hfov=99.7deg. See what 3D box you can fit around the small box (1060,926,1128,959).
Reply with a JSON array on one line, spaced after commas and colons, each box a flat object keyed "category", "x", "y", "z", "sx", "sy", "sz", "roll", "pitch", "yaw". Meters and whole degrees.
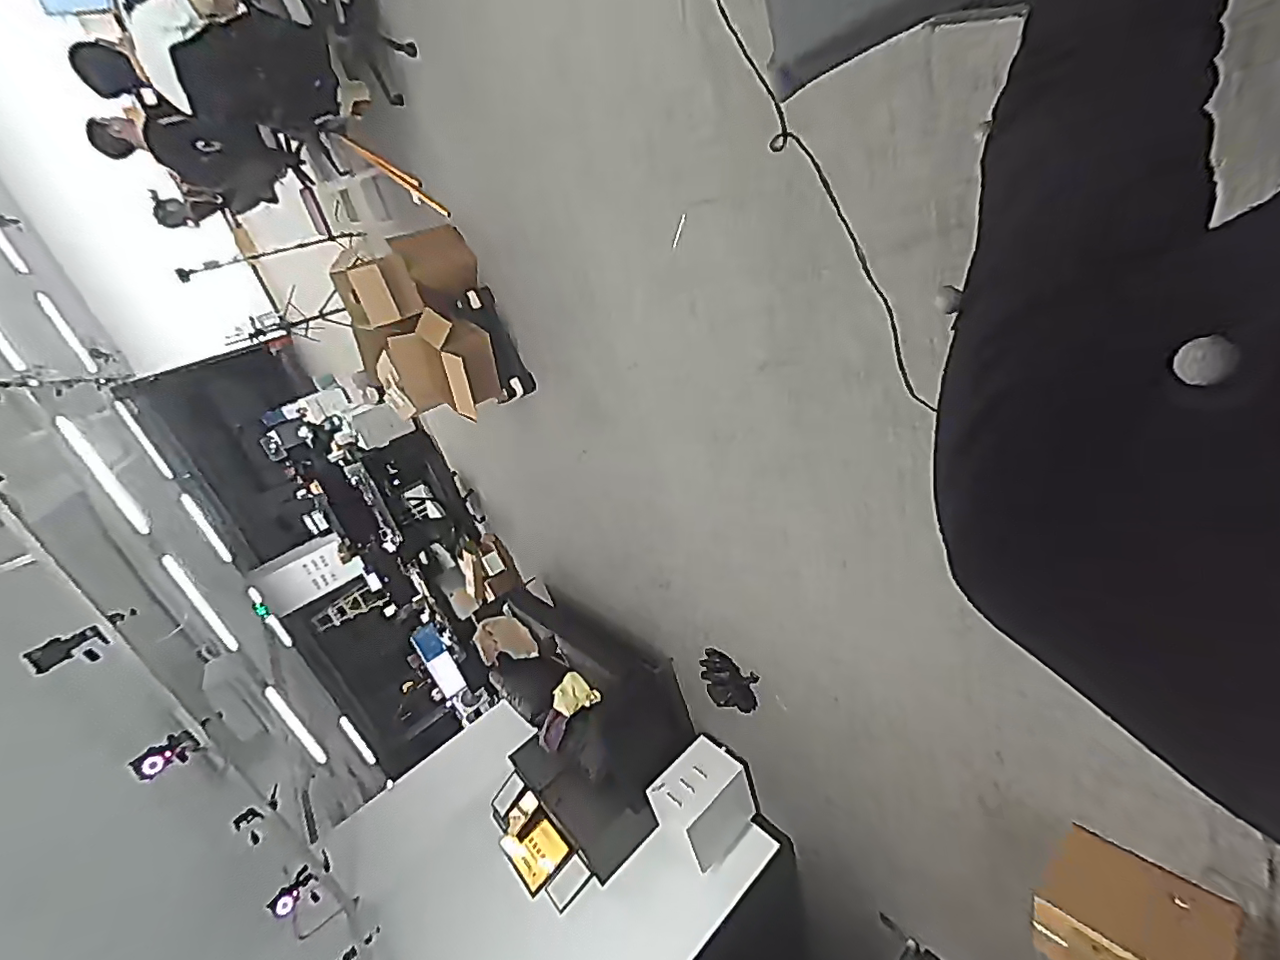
[{"category": "small box", "x": 1.325, "y": 1.457, "z": 1.559, "sx": 0.168, "sy": 0.176, "sz": 0.179, "roll": 11, "pitch": 125, "yaw": 53}]
